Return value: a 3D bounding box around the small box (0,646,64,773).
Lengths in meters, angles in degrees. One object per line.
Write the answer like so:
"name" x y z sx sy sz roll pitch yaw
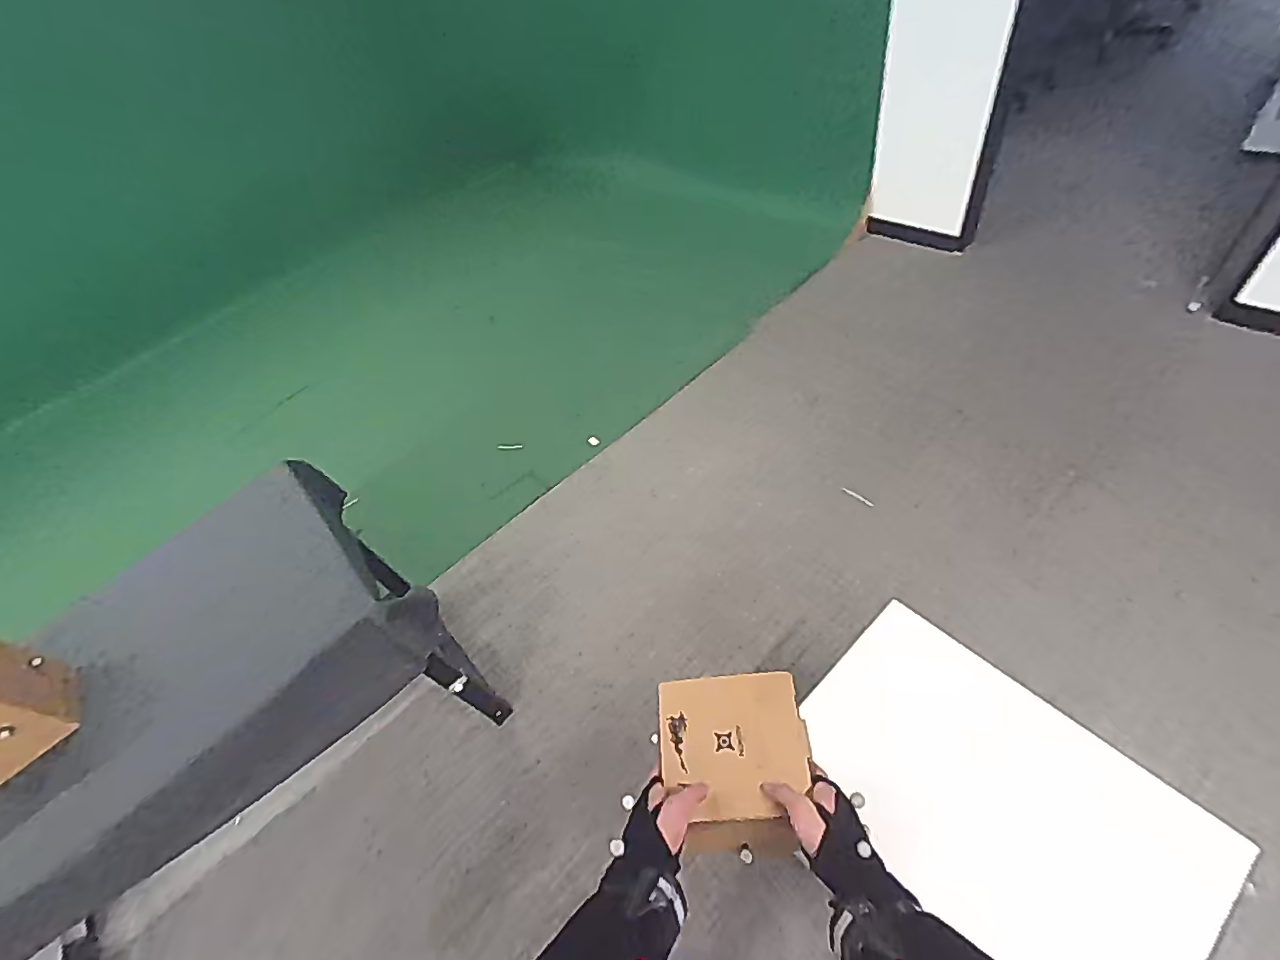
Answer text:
"small box" -1.164 0.406 0.939 0.179 0.176 0.168 -42 53 -18

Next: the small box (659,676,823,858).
"small box" 0.120 0.373 0.699 0.179 0.176 0.168 -6 44 5
